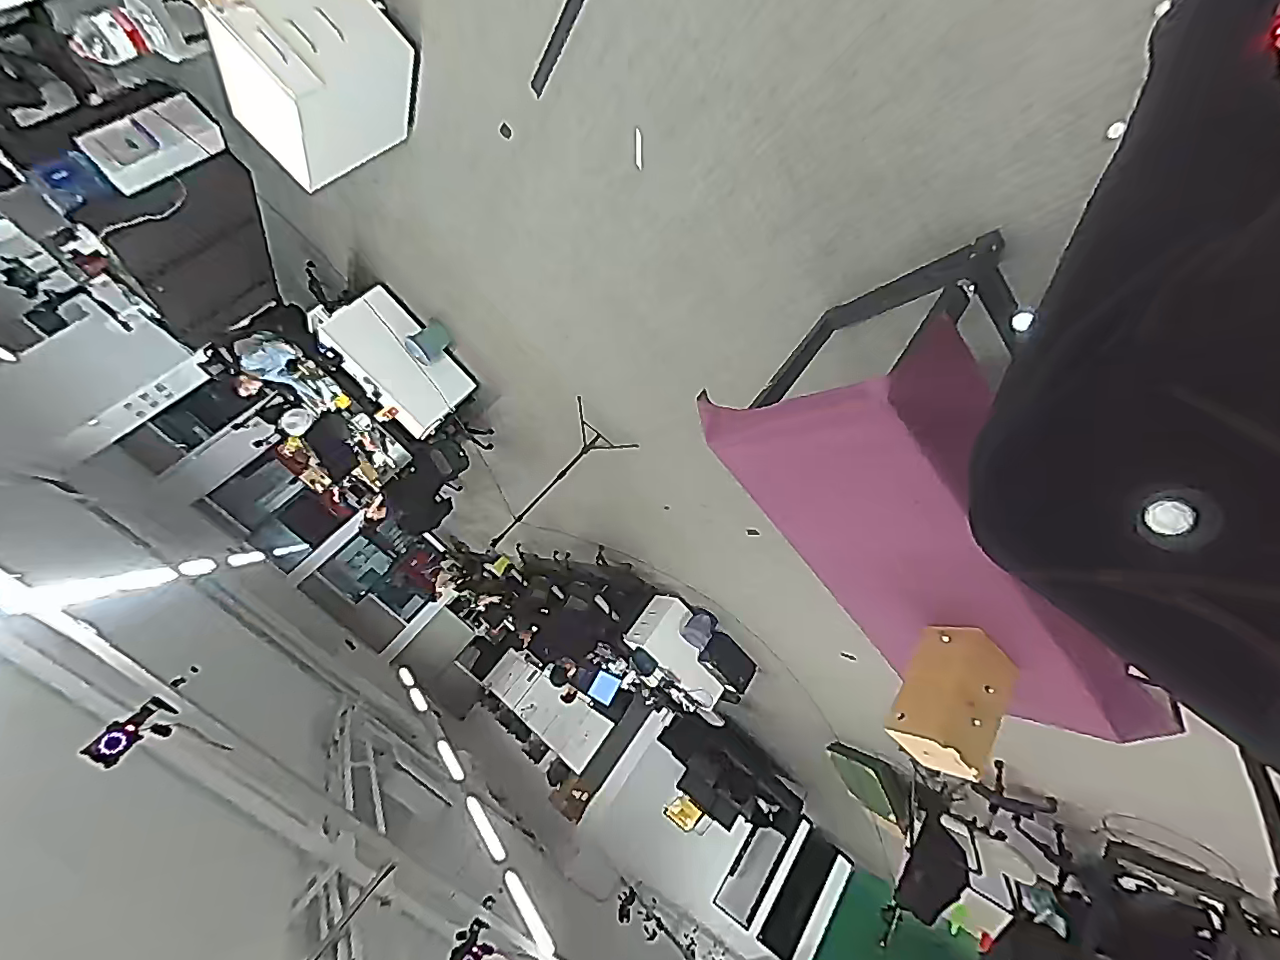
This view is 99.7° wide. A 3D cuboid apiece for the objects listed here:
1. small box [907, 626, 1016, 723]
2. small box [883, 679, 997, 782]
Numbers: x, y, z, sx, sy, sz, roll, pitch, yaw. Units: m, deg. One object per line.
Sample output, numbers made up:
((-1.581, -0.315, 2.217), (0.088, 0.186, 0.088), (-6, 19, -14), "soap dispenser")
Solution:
((0.883, 0.526, 1.481), (0.179, 0.176, 0.168), (44, 155, -7), "small box")
((0.789, 0.646, 1.420), (0.168, 0.176, 0.179), (43, 155, -6), "small box")
